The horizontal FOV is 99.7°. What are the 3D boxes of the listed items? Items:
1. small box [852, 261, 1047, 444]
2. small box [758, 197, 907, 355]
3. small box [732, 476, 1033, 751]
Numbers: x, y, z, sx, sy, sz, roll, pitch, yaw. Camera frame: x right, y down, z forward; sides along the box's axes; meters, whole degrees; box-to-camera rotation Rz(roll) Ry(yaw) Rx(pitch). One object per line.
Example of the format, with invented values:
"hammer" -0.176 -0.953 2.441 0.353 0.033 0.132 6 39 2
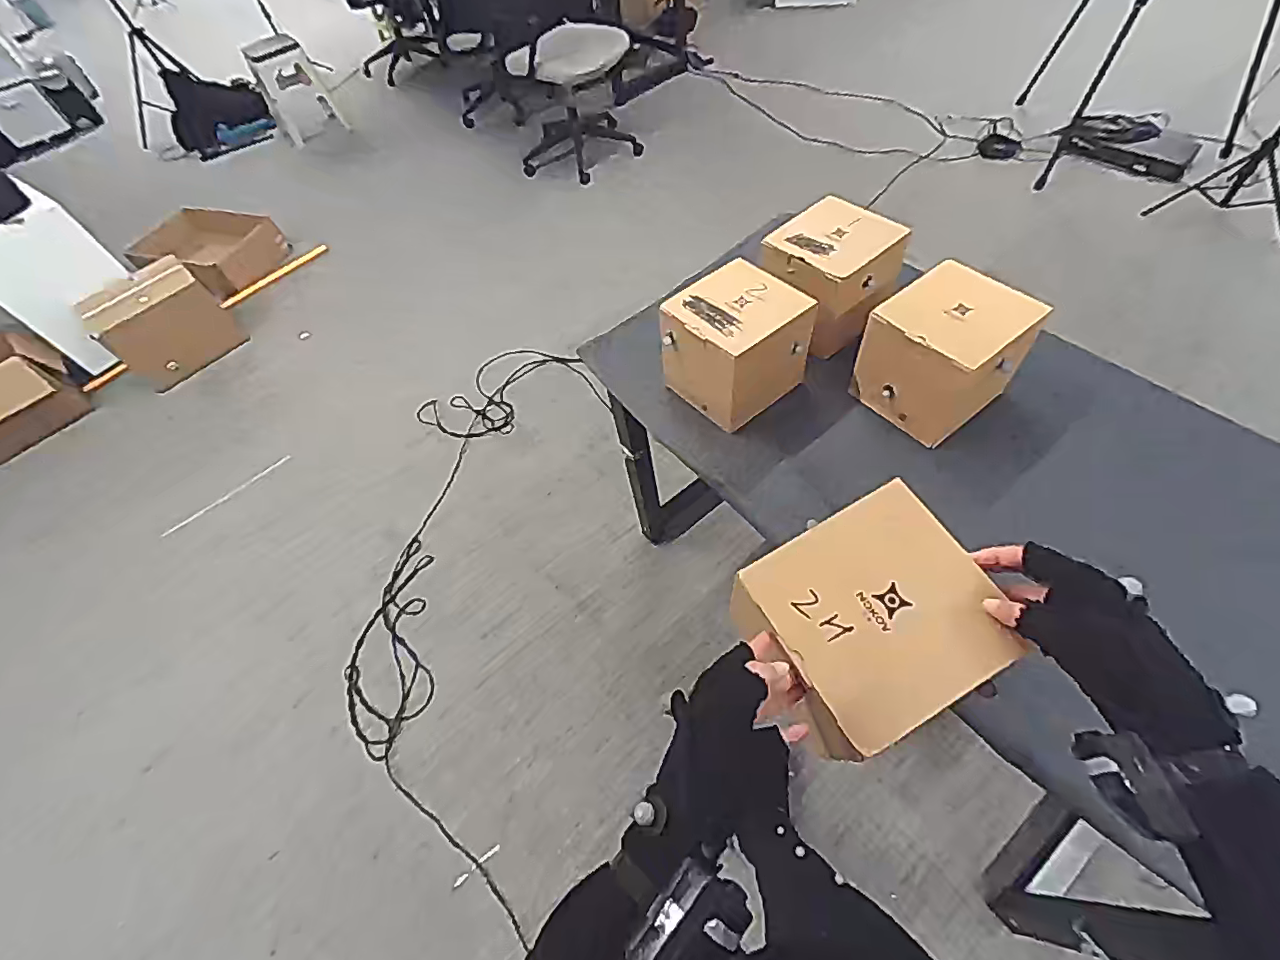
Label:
"small box" 0.452 -0.191 0.822 0.179 0.176 0.168 -35 59 -14
"small box" 0.324 -0.351 0.946 0.179 0.176 0.168 -37 60 -17
"small box" 0.202 0.131 0.513 0.179 0.176 0.168 -29 64 -7
